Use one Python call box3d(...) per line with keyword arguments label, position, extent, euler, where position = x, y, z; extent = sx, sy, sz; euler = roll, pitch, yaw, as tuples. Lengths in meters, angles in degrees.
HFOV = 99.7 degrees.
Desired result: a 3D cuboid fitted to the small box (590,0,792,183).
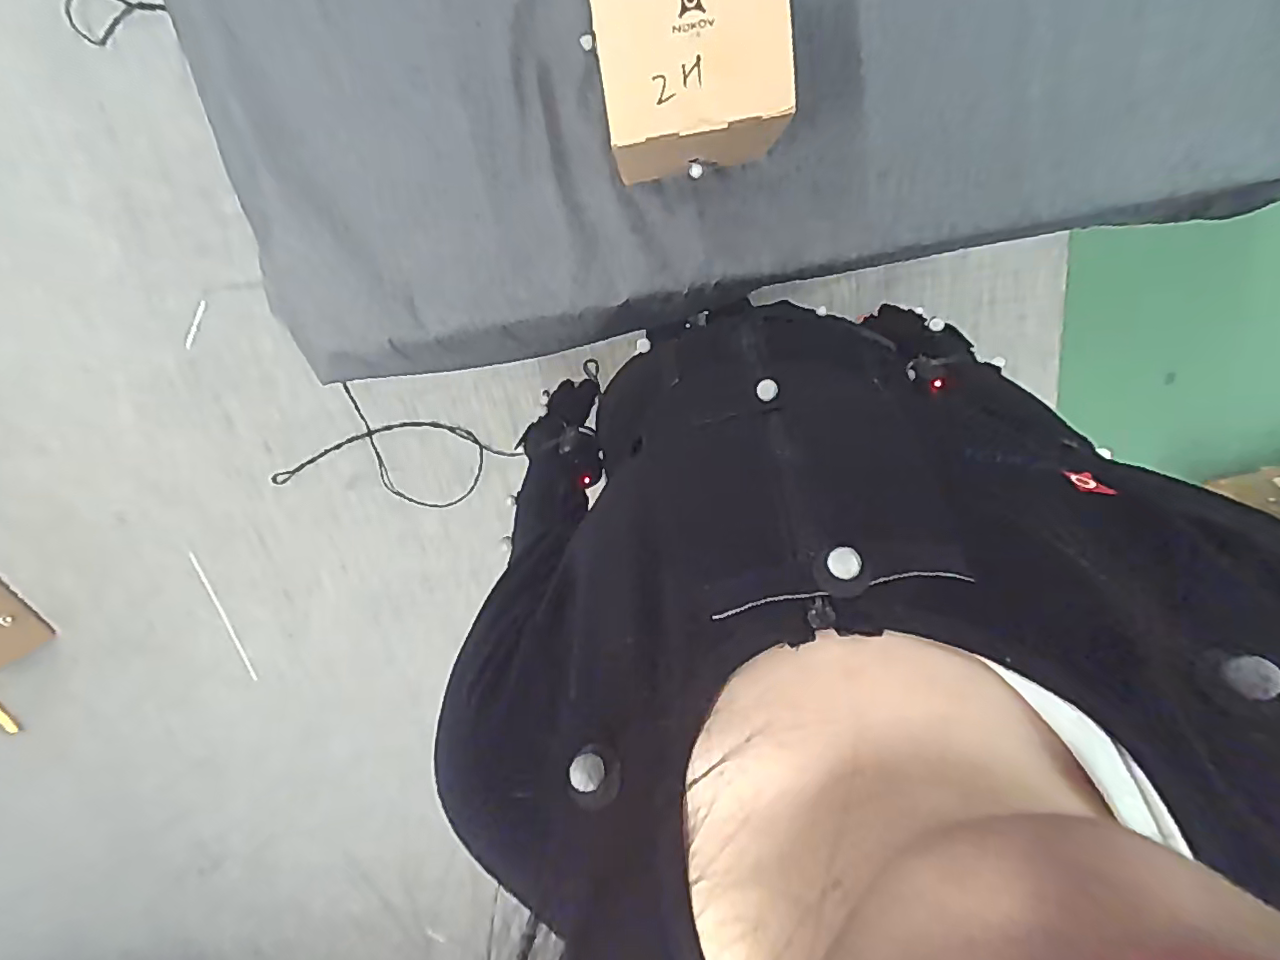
box3d(label="small box", position=(0.043, -0.415, 0.529), extent=(0.168, 0.176, 0.179), euler=(-8, 109, 5))
